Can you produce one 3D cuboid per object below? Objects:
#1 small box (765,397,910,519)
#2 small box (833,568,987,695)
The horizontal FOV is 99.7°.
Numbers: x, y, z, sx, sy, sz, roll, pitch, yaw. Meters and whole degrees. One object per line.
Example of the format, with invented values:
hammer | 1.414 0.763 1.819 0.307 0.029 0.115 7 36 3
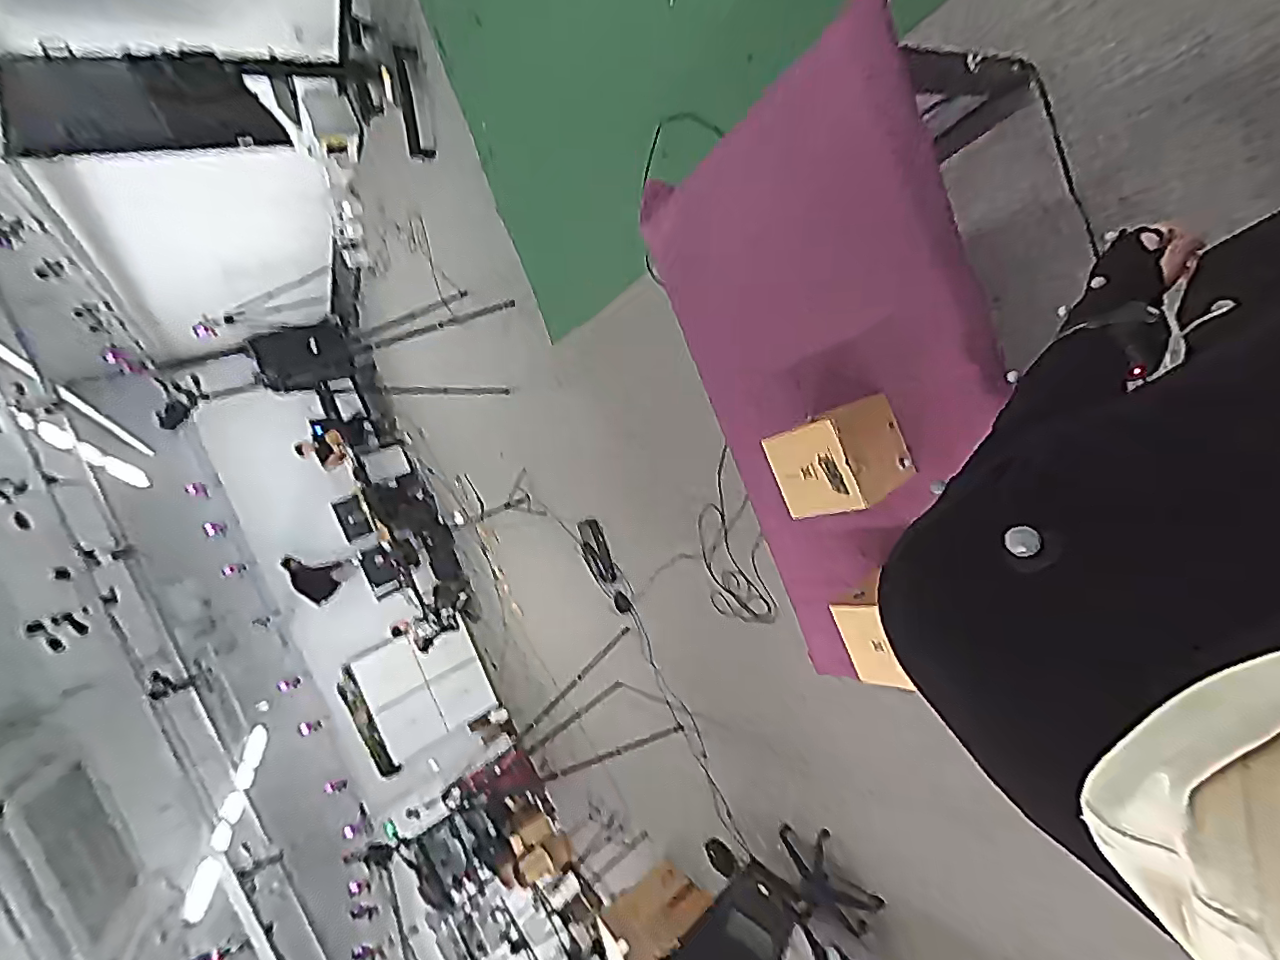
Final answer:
small box | 0.378 -0.041 1.022 0.179 0.176 0.168 -19 94 60
small box | 0.513 0.279 1.030 0.179 0.176 0.168 -22 92 59
